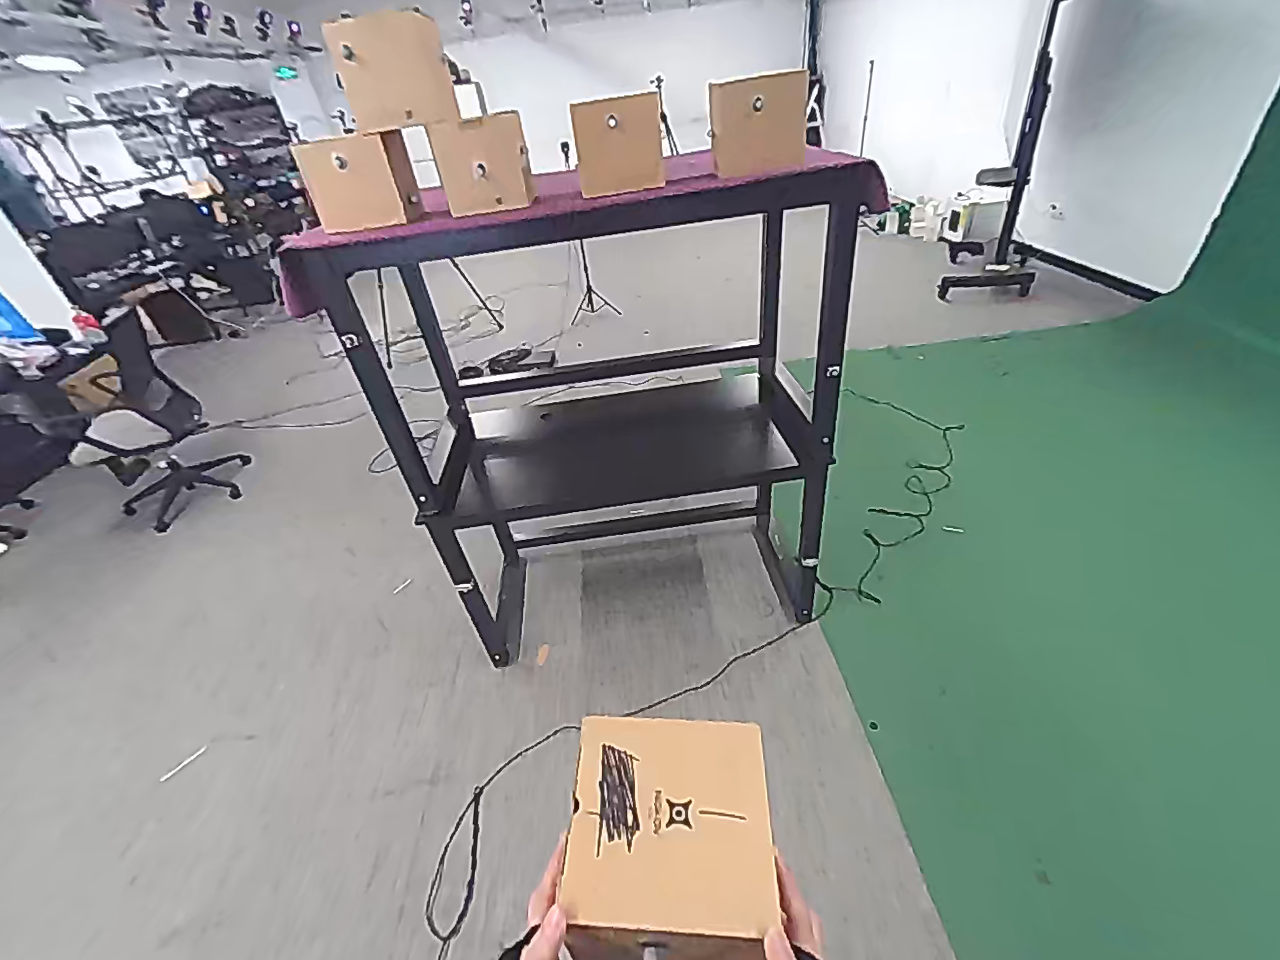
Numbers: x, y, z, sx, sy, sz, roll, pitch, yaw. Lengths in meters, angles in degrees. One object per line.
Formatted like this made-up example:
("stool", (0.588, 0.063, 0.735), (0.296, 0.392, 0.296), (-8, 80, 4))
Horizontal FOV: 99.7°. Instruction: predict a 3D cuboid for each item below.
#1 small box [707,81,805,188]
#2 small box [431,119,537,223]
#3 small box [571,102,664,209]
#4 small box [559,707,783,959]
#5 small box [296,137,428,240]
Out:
("small box", (0.242, -0.733, 1.151), (0.179, 0.176, 0.168), (-6, 37, 4))
("small box", (-0.323, -0.659, 1.158), (0.168, 0.176, 0.179), (-8, 35, -1))
("small box", (-0.043, -0.696, 1.159), (0.179, 0.176, 0.168), (-8, 34, 1))
("small box", (0.031, 0.343, 0.522), (0.179, 0.176, 0.168), (1, 39, 3))
("small box", (-0.582, -0.624, 1.158), (0.179, 0.176, 0.168), (-8, 36, -2))
